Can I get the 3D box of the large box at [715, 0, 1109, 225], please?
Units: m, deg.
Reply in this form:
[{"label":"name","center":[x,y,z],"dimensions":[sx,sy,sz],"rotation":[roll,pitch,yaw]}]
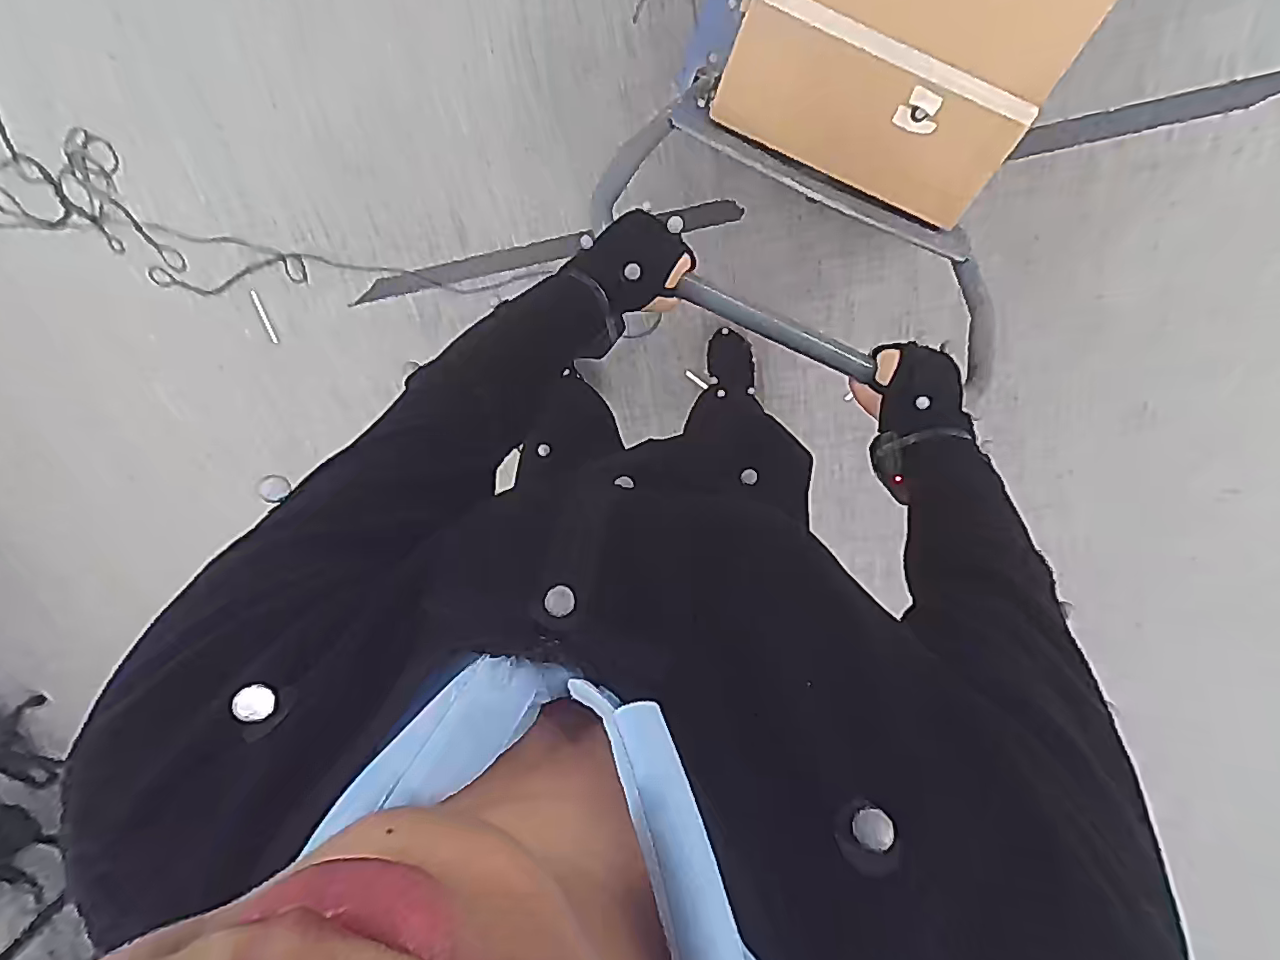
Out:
[{"label":"large box","center":[0.371,-0.659,0.829],"dimensions":[0.408,0.320,0.320],"rotation":[23,133,-3]}]
